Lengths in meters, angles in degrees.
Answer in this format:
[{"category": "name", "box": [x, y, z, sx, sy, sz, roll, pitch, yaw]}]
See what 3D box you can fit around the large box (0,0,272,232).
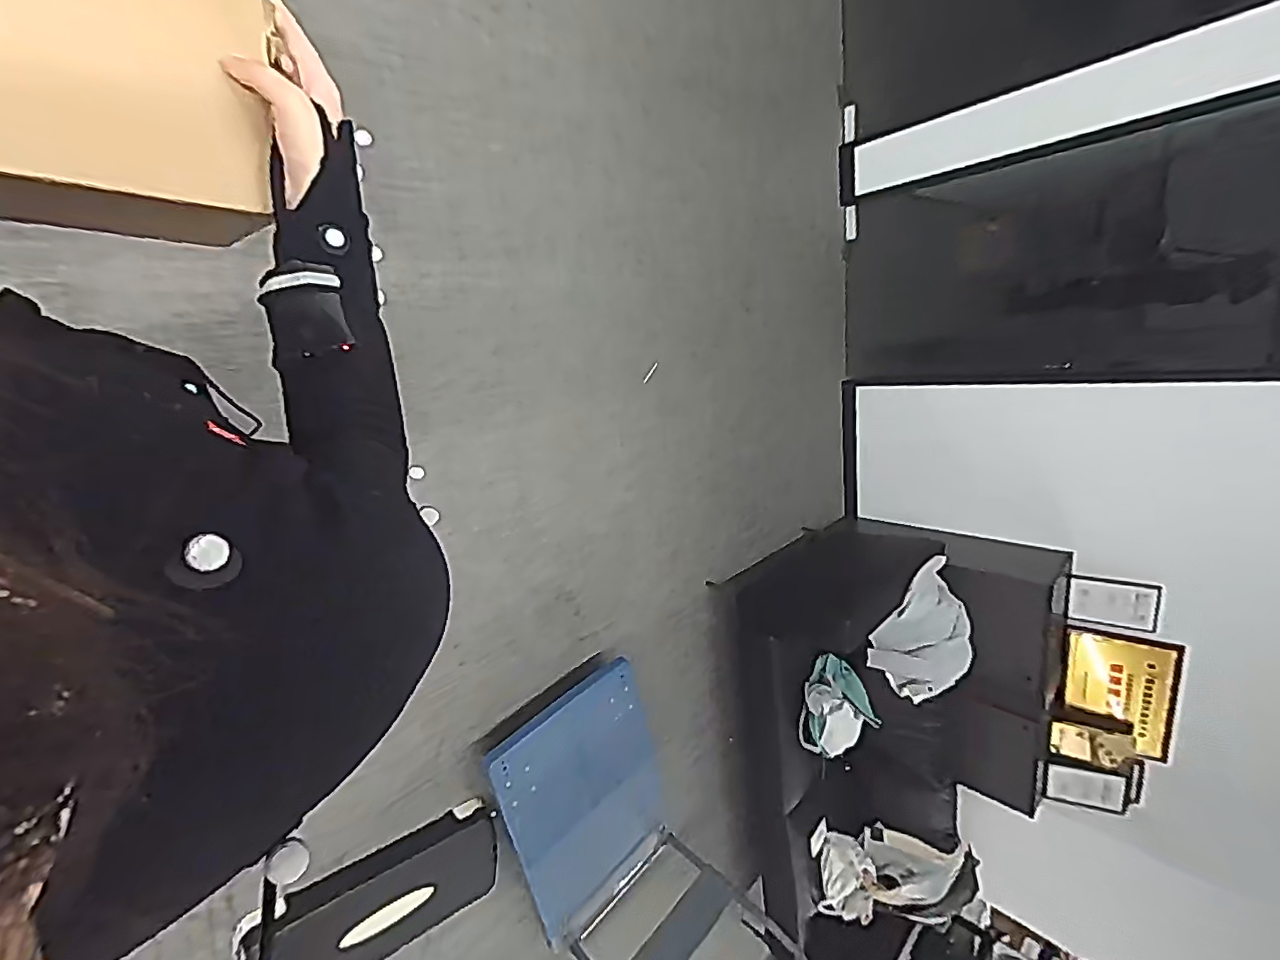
[{"category": "large box", "box": [-0.533, -0.369, 0.370, 0.408, 0.320, 0.320, -11, 110, -41]}]
